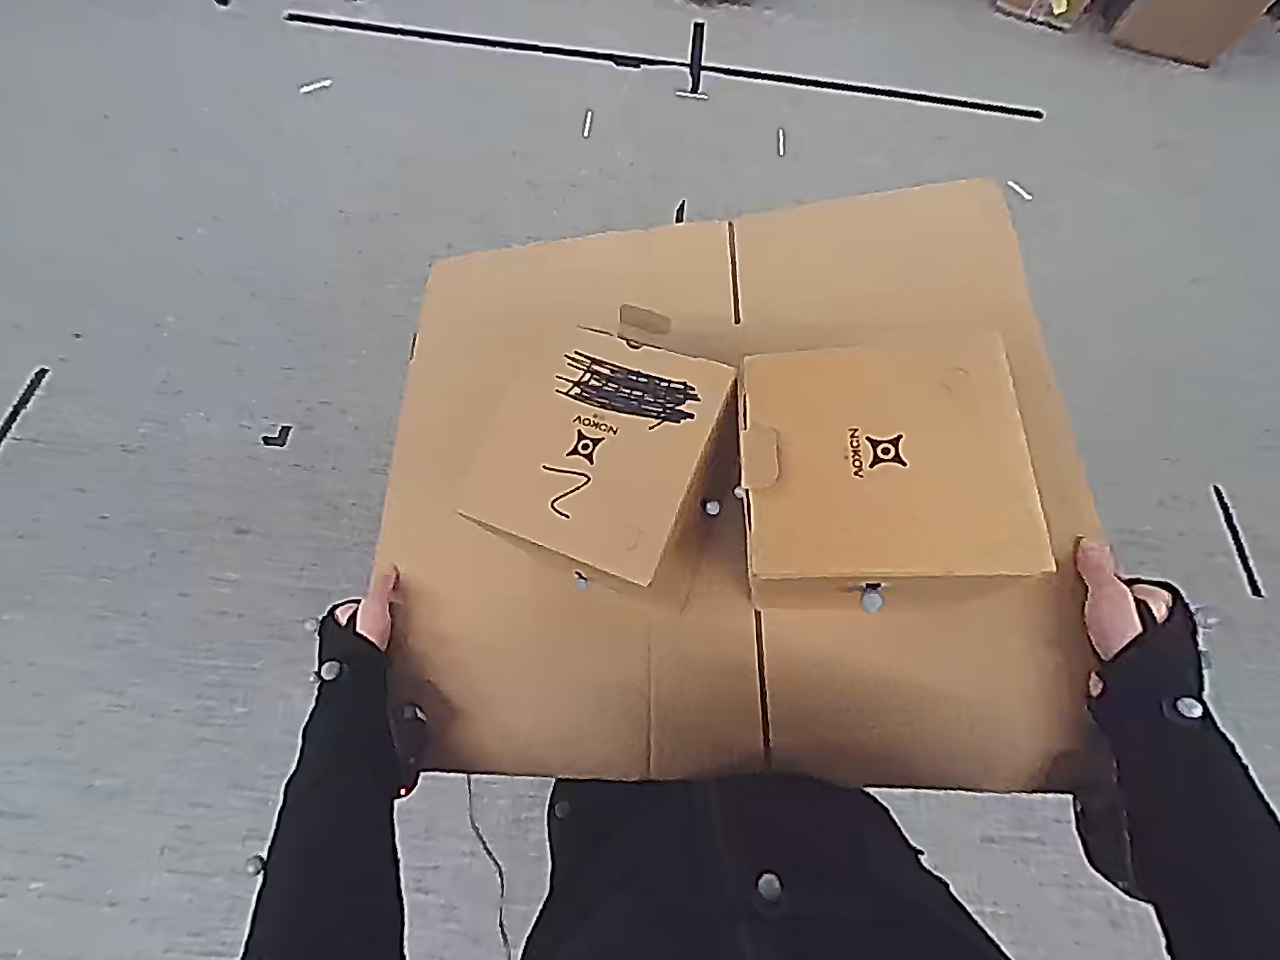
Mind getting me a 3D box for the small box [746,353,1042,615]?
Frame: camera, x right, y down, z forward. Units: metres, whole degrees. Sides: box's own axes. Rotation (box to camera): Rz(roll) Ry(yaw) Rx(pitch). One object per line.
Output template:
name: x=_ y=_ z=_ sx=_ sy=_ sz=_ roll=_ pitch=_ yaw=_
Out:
small box: x=0.180 y=0.017 z=0.445 sx=0.179 sy=0.176 sz=0.168 roll=-3 pitch=70 yaw=13
